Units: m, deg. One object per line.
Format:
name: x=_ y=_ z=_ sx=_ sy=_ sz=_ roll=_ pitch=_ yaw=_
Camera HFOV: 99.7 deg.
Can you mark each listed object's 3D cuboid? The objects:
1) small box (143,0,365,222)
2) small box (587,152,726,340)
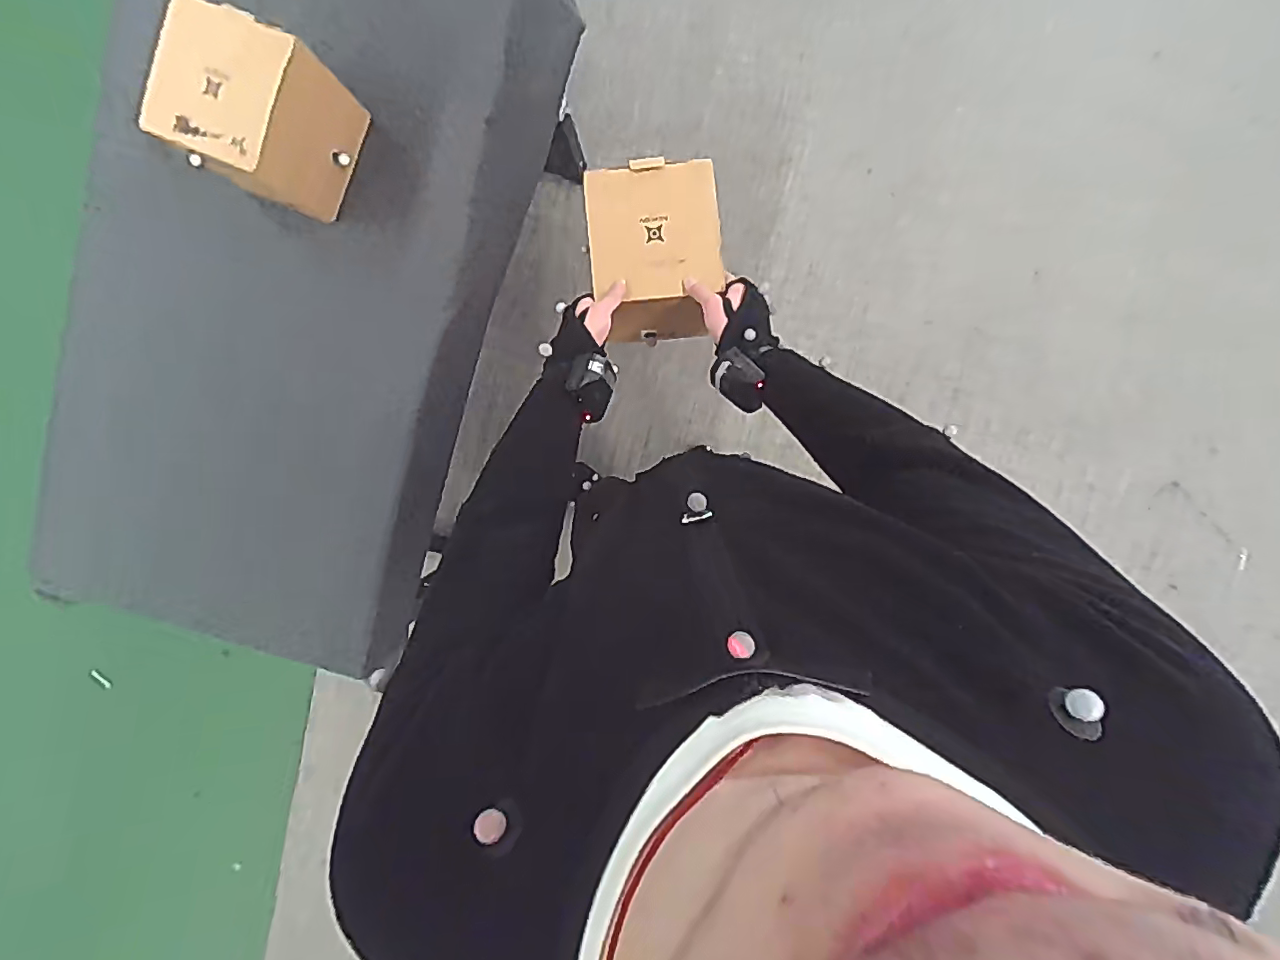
small box: x=-0.522 y=-0.503 z=0.760 sx=0.168 sy=0.176 sz=0.179 roll=23 pitch=95 yaw=1
small box: x=0.021 y=-0.305 z=0.734 sx=0.168 sy=0.176 sz=0.179 roll=-3 pitch=86 yaw=2
